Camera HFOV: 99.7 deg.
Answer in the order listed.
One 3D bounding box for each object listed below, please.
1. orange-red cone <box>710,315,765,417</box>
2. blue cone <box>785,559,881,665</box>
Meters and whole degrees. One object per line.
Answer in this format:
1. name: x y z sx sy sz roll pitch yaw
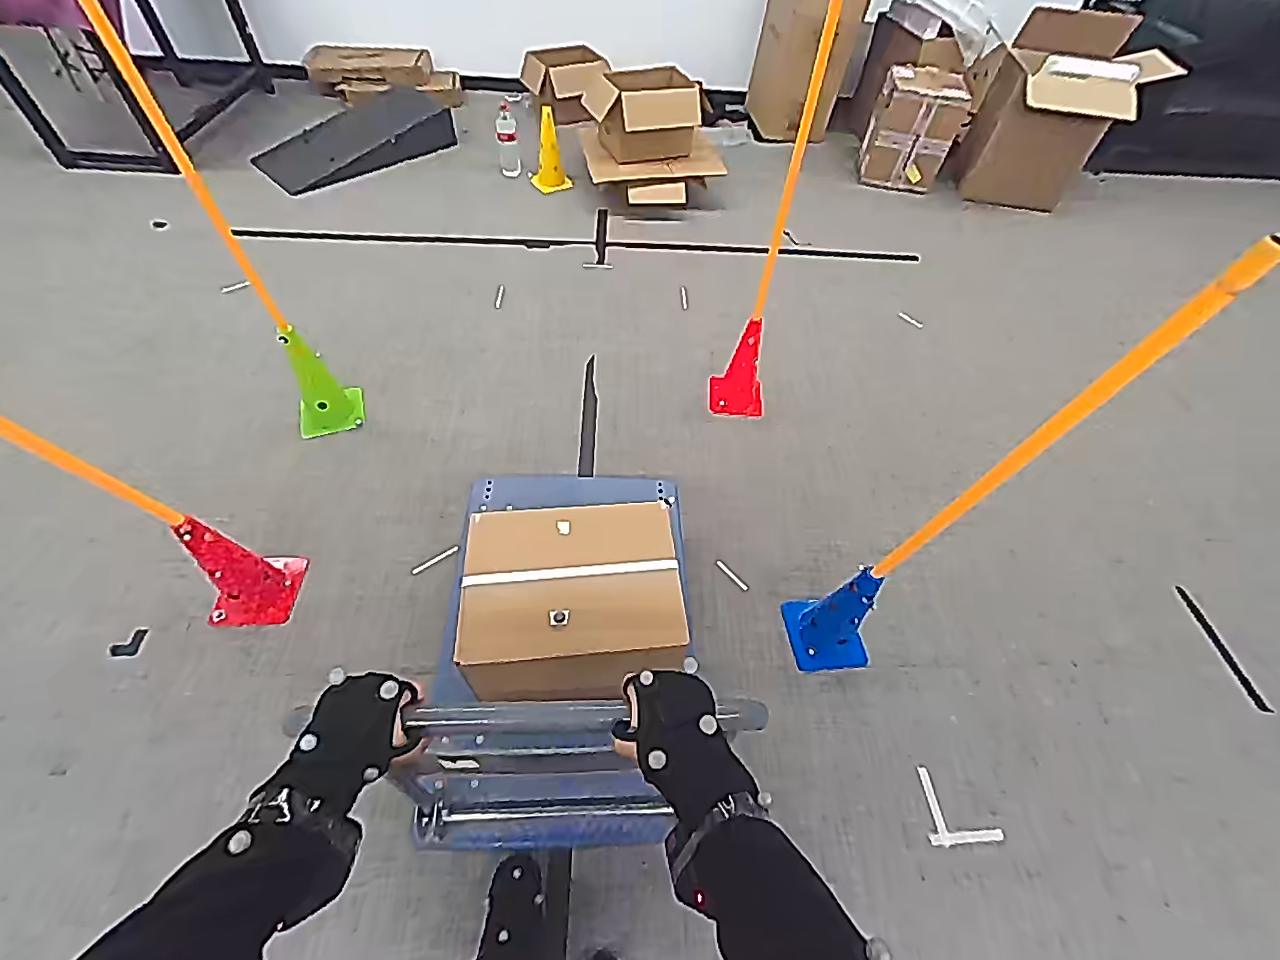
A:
1. orange-red cone: 0.377 -0.418 1.887 0.199 0.360 0.198 7 54 0
2. blue cone: 0.522 0.316 1.367 0.193 0.380 0.192 -2 52 -6
